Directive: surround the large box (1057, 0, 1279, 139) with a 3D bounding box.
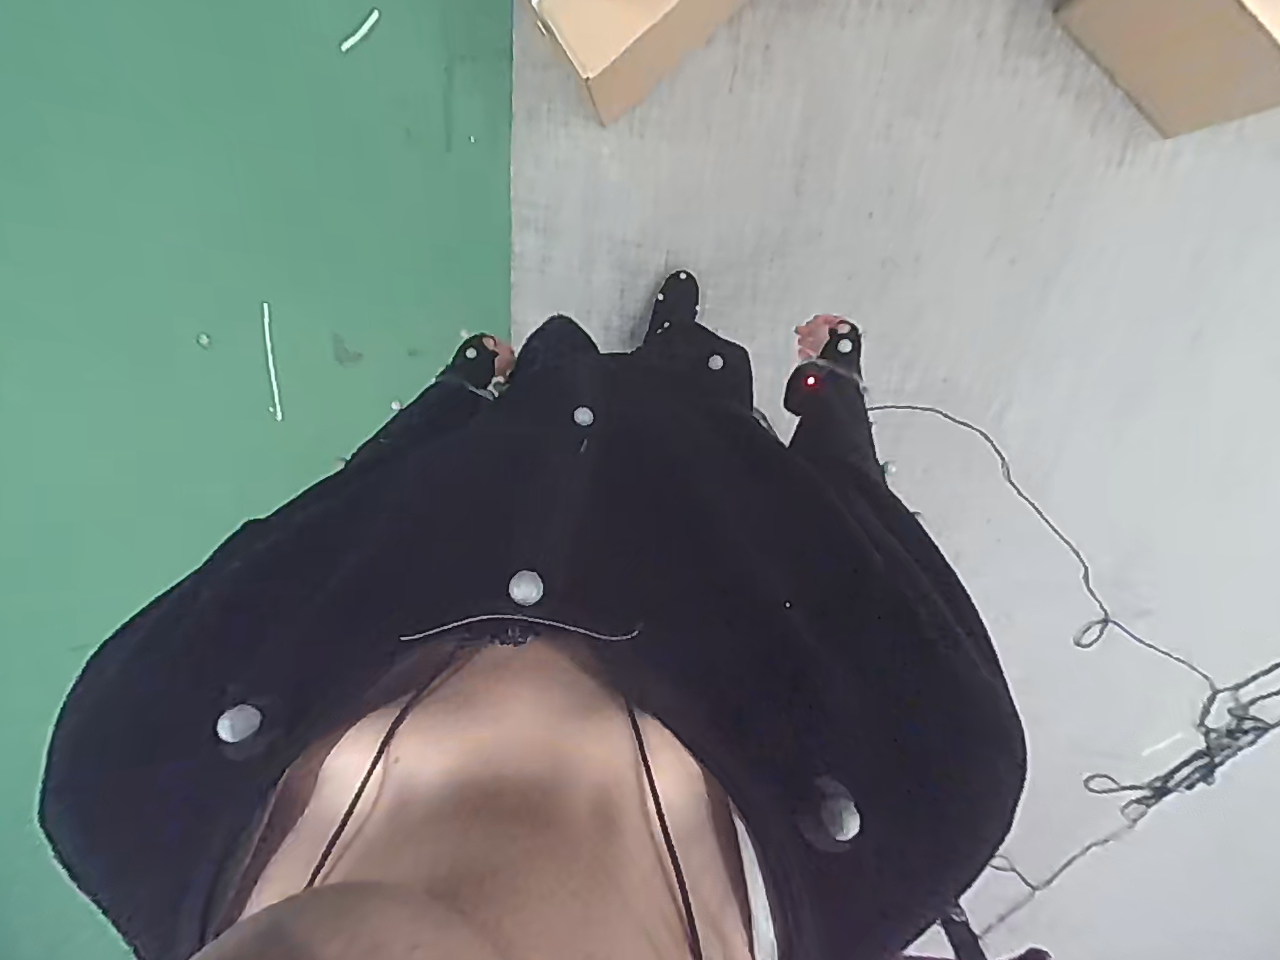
[{"bbox_3d":[1.131,-0.944,1.015,0.408,0.320,0.320,34,108,-11],"label":"large box"}]
